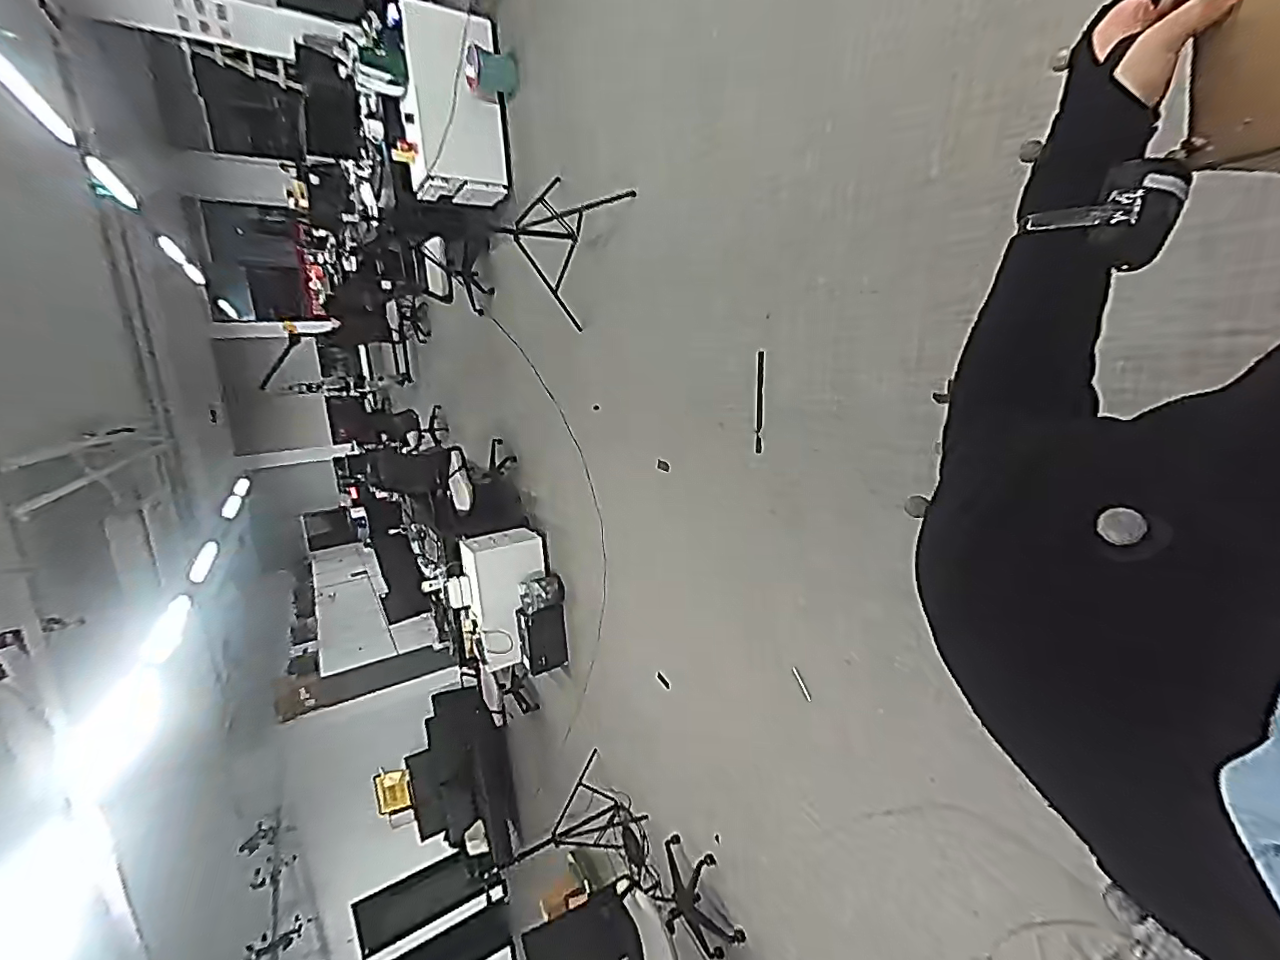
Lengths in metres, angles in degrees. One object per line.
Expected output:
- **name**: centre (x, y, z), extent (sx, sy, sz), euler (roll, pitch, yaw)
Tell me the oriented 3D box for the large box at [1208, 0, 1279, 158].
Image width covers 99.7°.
- **large box**: centre (0.616, -0.406, 0.269), extent (0.408, 0.320, 0.320), euler (10, 114, 57)
